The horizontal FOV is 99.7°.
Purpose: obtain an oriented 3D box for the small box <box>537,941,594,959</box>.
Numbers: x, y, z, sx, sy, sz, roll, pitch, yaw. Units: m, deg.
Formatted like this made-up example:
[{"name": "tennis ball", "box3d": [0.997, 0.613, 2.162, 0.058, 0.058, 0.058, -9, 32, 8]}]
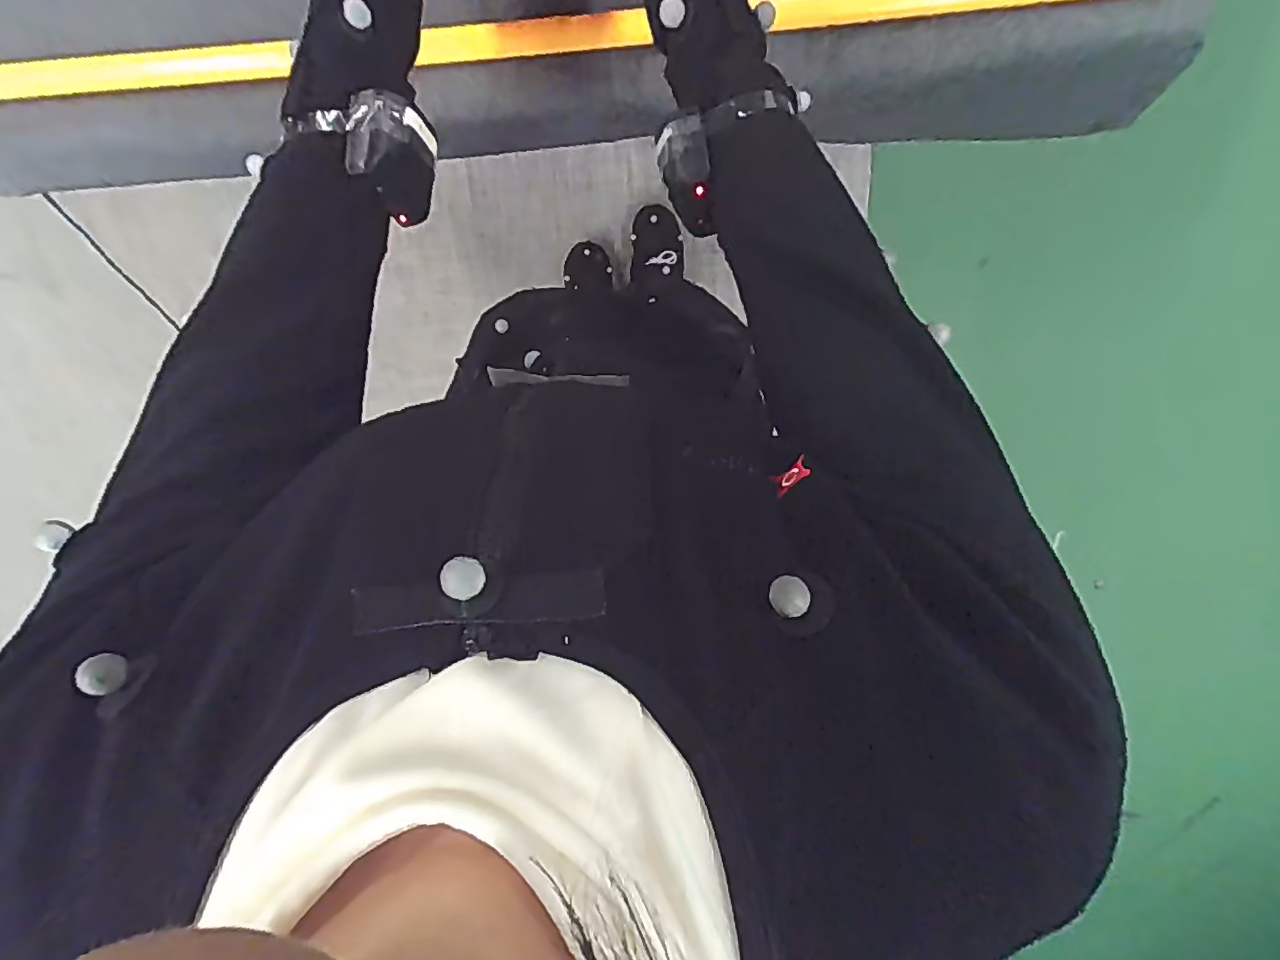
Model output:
[{"name": "small box", "box3d": [-0.242, 1.651, 1.767, 0.168, 0.176, 0.179, -11, 117, 4]}]
